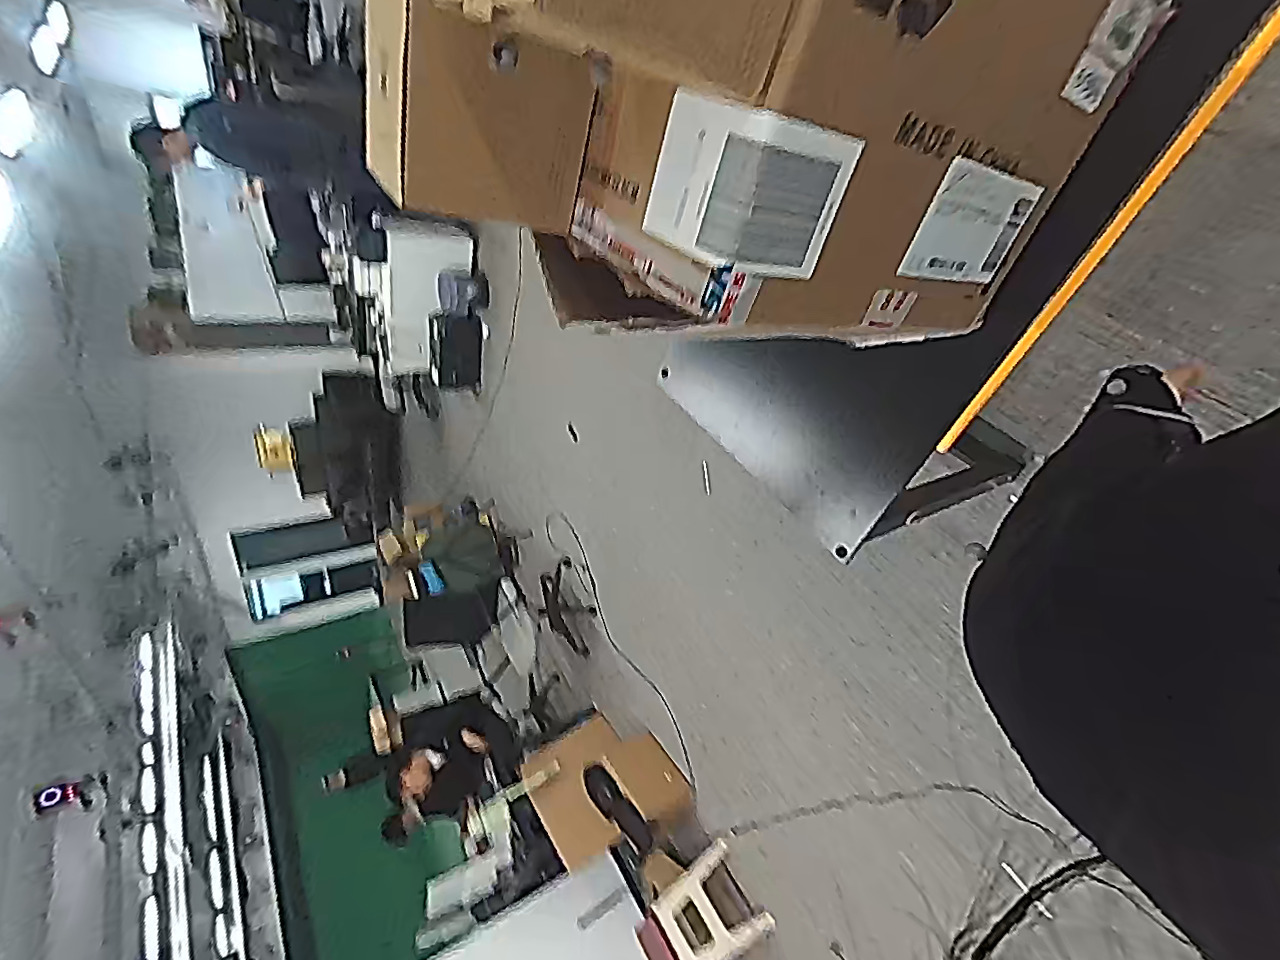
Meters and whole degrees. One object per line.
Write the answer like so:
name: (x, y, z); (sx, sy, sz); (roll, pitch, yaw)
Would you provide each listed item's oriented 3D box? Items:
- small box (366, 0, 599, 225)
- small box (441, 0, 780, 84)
small box: (-0.156, -0.370, 0.525); (0.168, 0.176, 0.179); (50, 136, 39)
small box: (-0.010, -0.363, 0.319); (0.168, 0.176, 0.179); (46, 134, 35)
